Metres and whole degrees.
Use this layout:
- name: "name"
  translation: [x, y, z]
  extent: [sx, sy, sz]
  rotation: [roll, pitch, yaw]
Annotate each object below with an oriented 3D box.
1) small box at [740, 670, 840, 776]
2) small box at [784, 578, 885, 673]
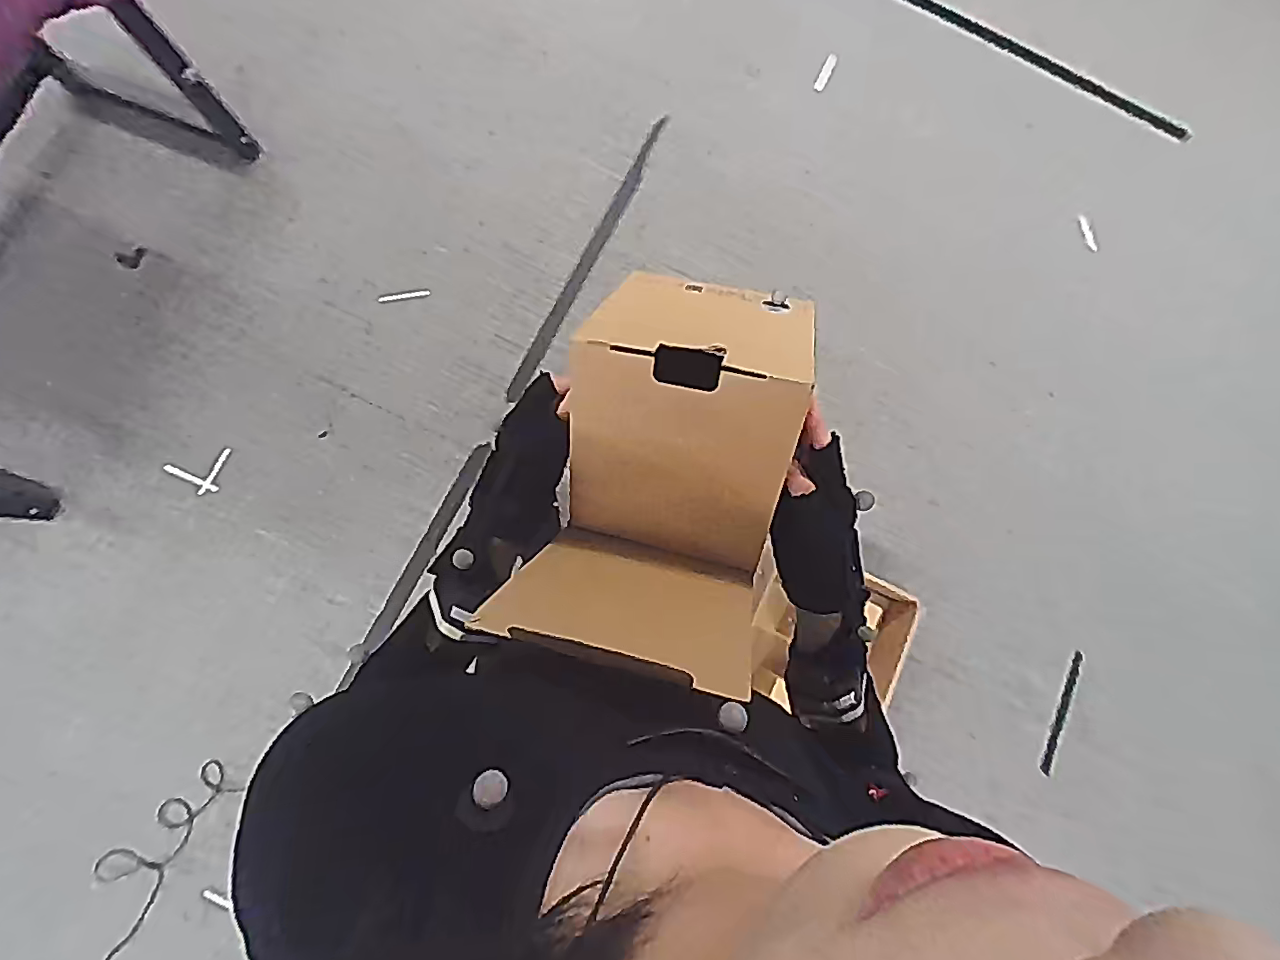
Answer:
- name: "small box"
  translation: [0.373, 0.606, 1.377]
  extent: [0.168, 0.176, 0.179]
  rotation: [27, 78, 1]
- name: "small box"
  translation: [0.498, 0.372, 1.417]
  extent: [0.168, 0.176, 0.179]
  rotation: [28, 81, 0]
